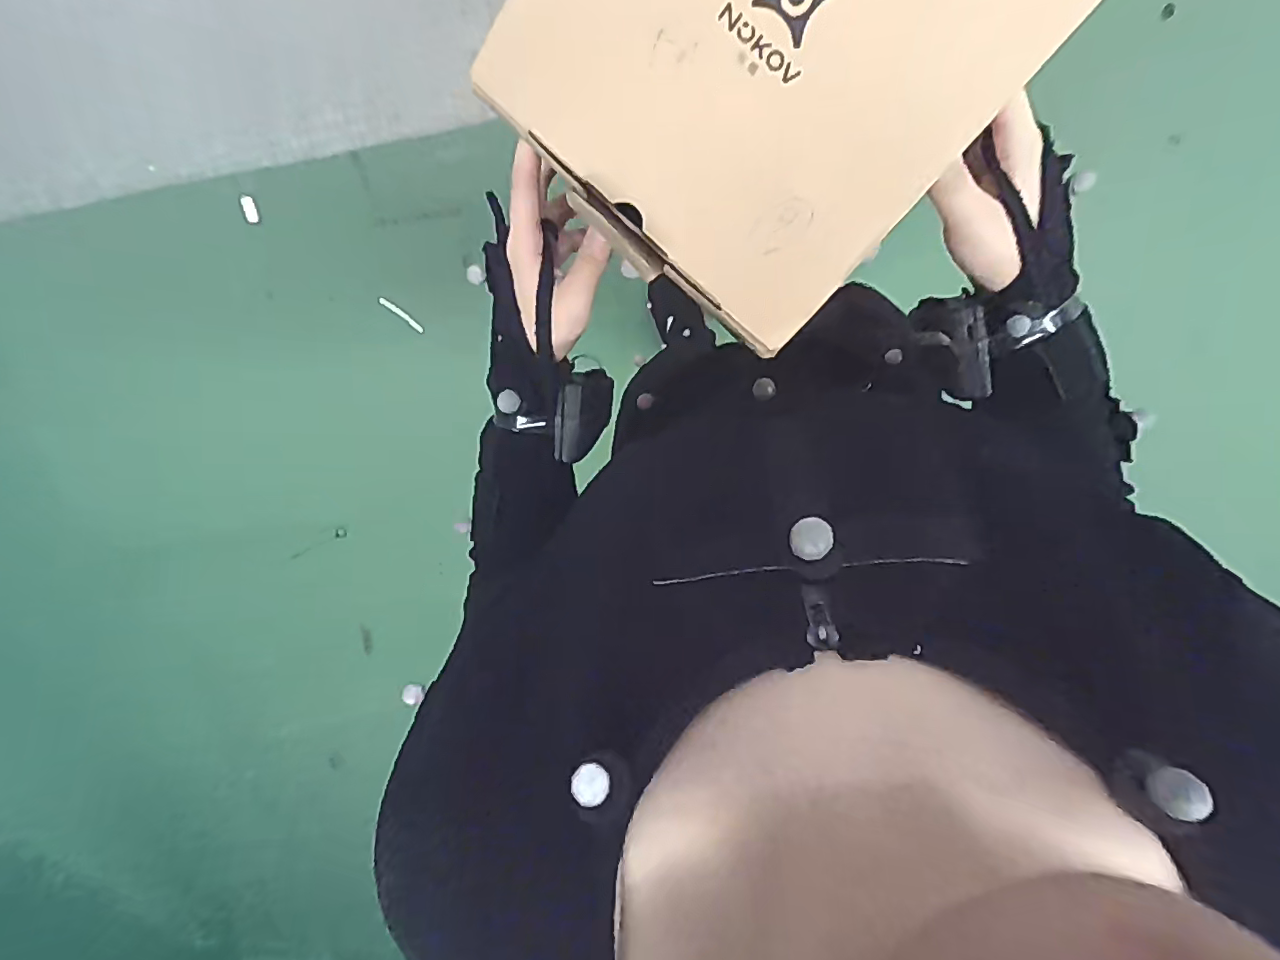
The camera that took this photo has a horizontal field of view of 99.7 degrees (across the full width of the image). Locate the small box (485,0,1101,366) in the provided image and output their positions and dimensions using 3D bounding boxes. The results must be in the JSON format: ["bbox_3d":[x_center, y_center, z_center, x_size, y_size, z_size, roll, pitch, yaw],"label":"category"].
[{"bbox_3d":[0.059,-0.184,0.283,0.168,0.176,0.179,41,108,-6],"label":"small box"}]
